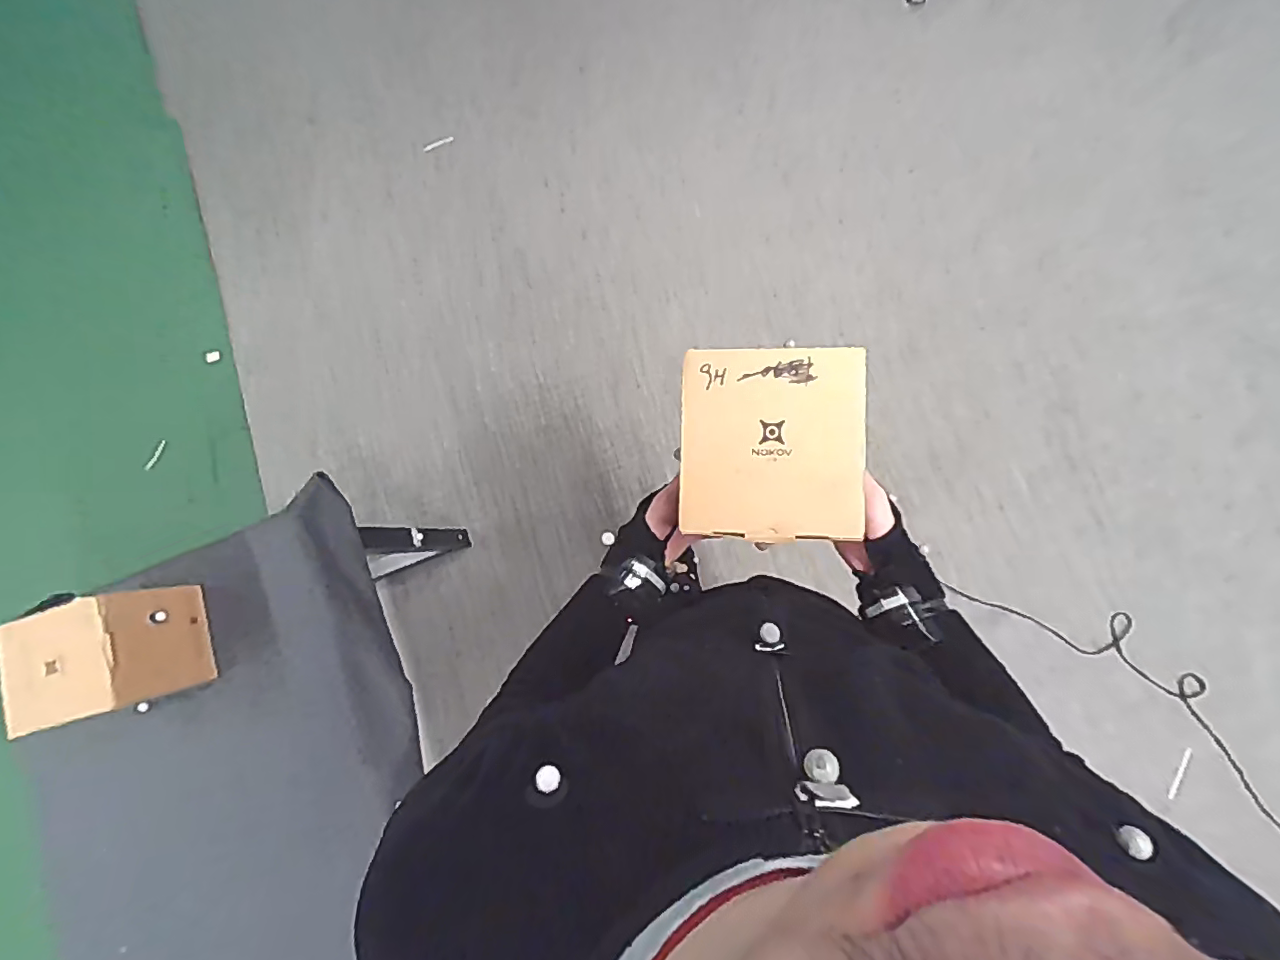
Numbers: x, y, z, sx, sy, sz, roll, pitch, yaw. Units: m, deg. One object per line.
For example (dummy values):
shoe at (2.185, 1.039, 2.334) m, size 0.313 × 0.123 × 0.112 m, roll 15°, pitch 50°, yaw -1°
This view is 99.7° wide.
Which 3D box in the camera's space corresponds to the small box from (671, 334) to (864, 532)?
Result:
small box at (0.125, -0.042, 0.562) m, size 0.168 × 0.176 × 0.179 m, roll 2°, pitch 87°, yaw 8°

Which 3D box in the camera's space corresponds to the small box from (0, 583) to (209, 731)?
small box at (-0.827, 0.266, 0.855) m, size 0.179 × 0.176 × 0.168 m, roll -18°, pitch 81°, yaw 5°
